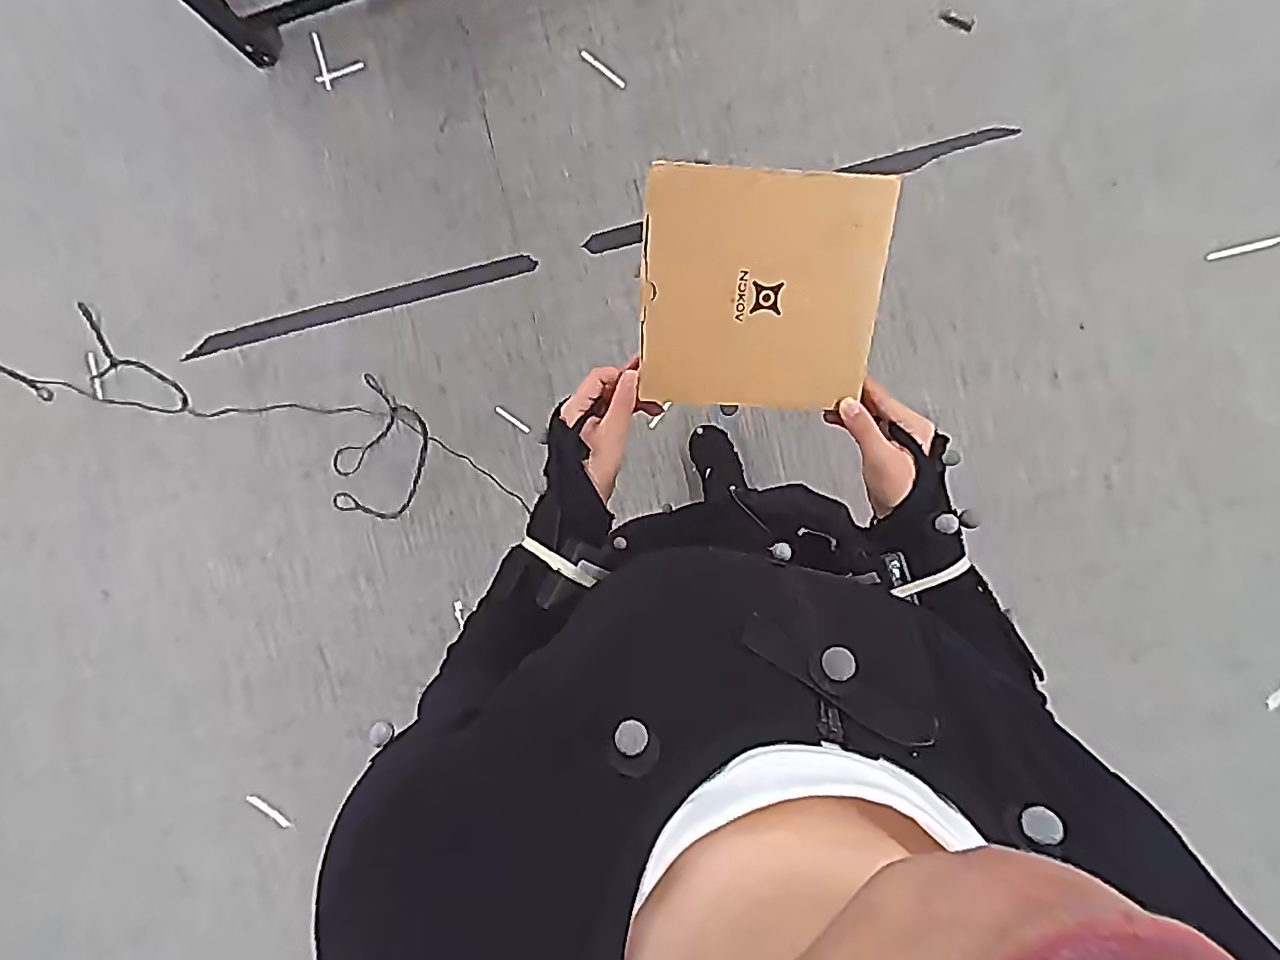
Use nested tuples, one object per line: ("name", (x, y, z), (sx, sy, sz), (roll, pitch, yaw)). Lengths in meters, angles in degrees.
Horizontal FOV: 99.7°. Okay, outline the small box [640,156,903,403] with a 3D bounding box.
("small box", (0.091, -0.170, 0.472), (0.179, 0.176, 0.168), (3, 111, 0))
